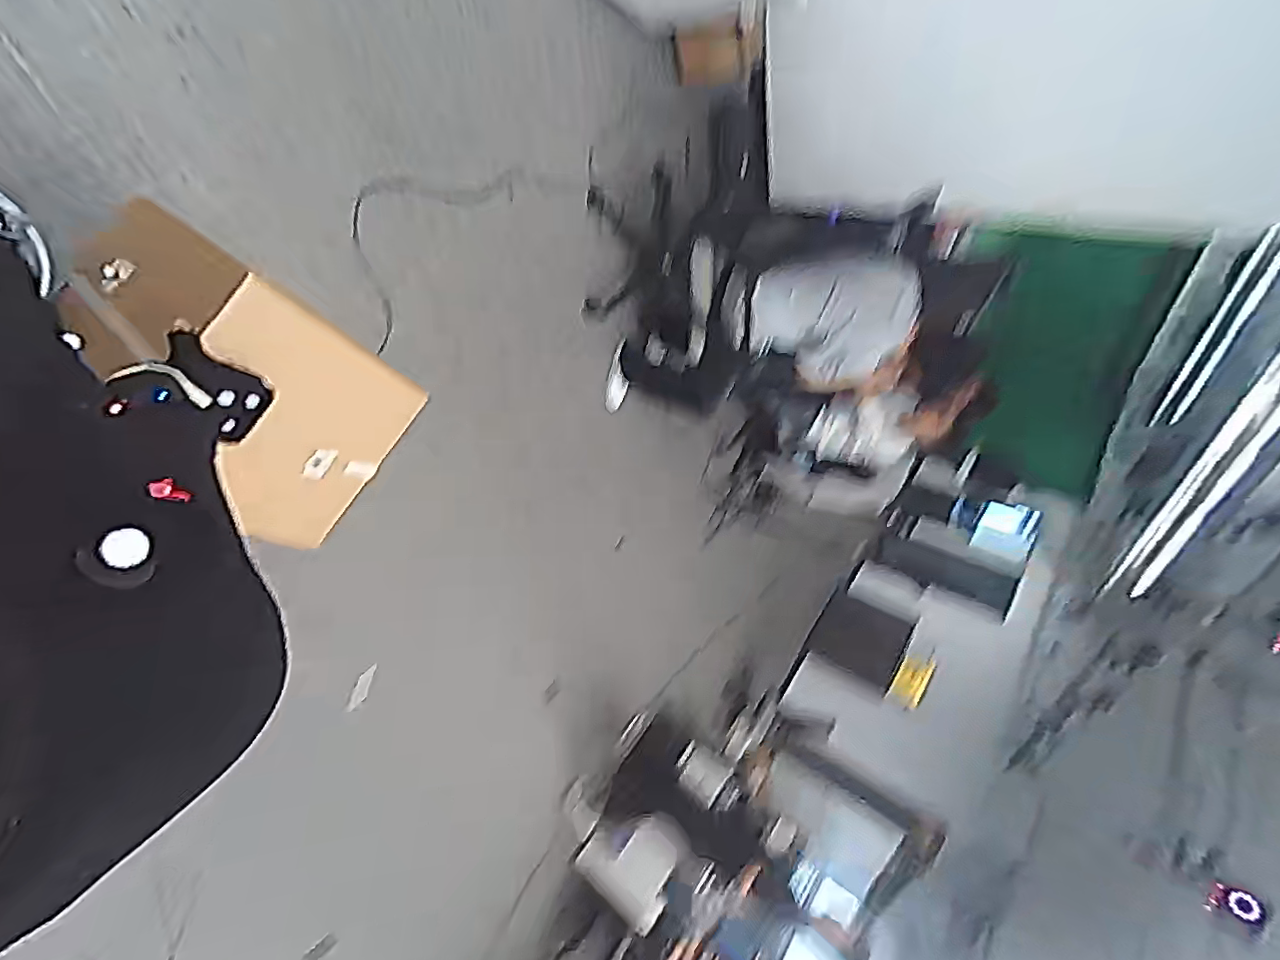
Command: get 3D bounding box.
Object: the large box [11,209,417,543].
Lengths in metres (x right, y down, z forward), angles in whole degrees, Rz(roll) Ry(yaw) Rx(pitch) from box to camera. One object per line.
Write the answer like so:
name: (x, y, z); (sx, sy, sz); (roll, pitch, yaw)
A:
large box: (-0.646, -0.153, 0.849); (0.320, 0.408, 0.320); (-55, 151, -6)
